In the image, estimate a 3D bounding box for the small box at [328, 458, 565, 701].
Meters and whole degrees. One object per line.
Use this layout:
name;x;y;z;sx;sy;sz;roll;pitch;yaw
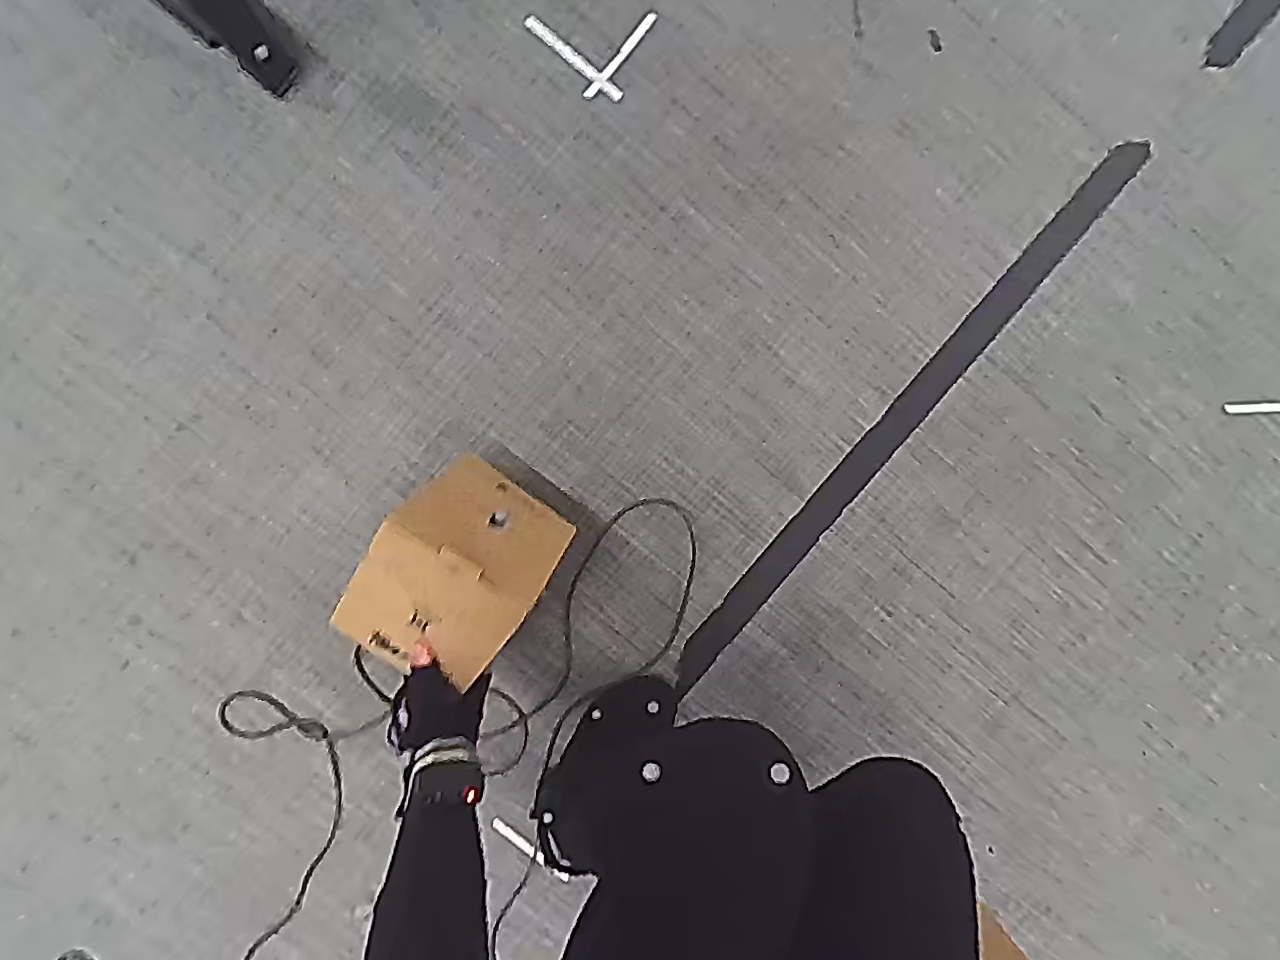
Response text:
small box;-0.205;0.104;0.616;0.168;0.176;0.179;37;118;-5
